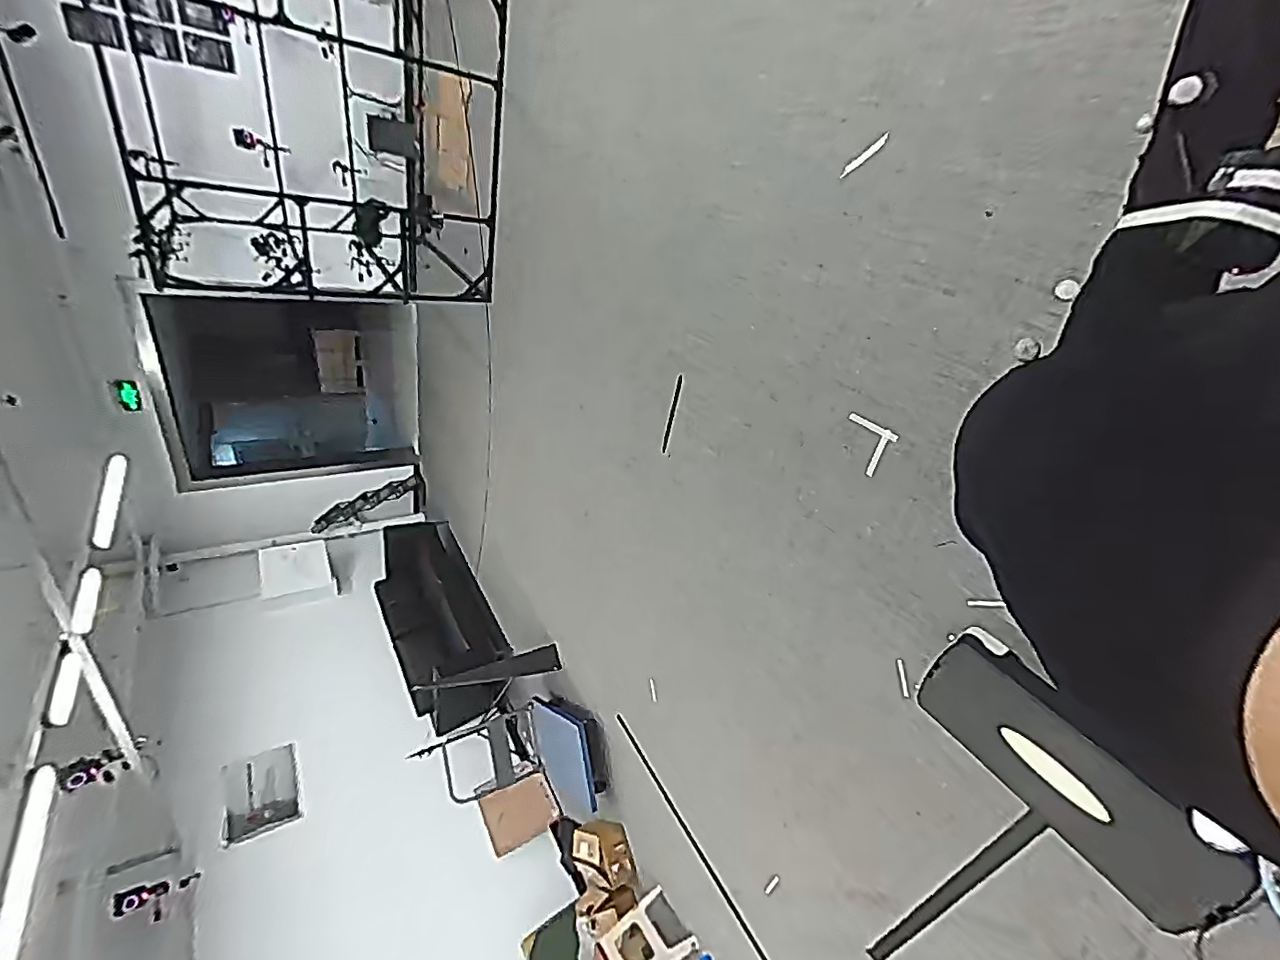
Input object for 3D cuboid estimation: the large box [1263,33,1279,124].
[{"bbox_3d":[0.642,-0.392,0.245,0.408,0.320,0.320,21,128,50],"label":"large box"}]
